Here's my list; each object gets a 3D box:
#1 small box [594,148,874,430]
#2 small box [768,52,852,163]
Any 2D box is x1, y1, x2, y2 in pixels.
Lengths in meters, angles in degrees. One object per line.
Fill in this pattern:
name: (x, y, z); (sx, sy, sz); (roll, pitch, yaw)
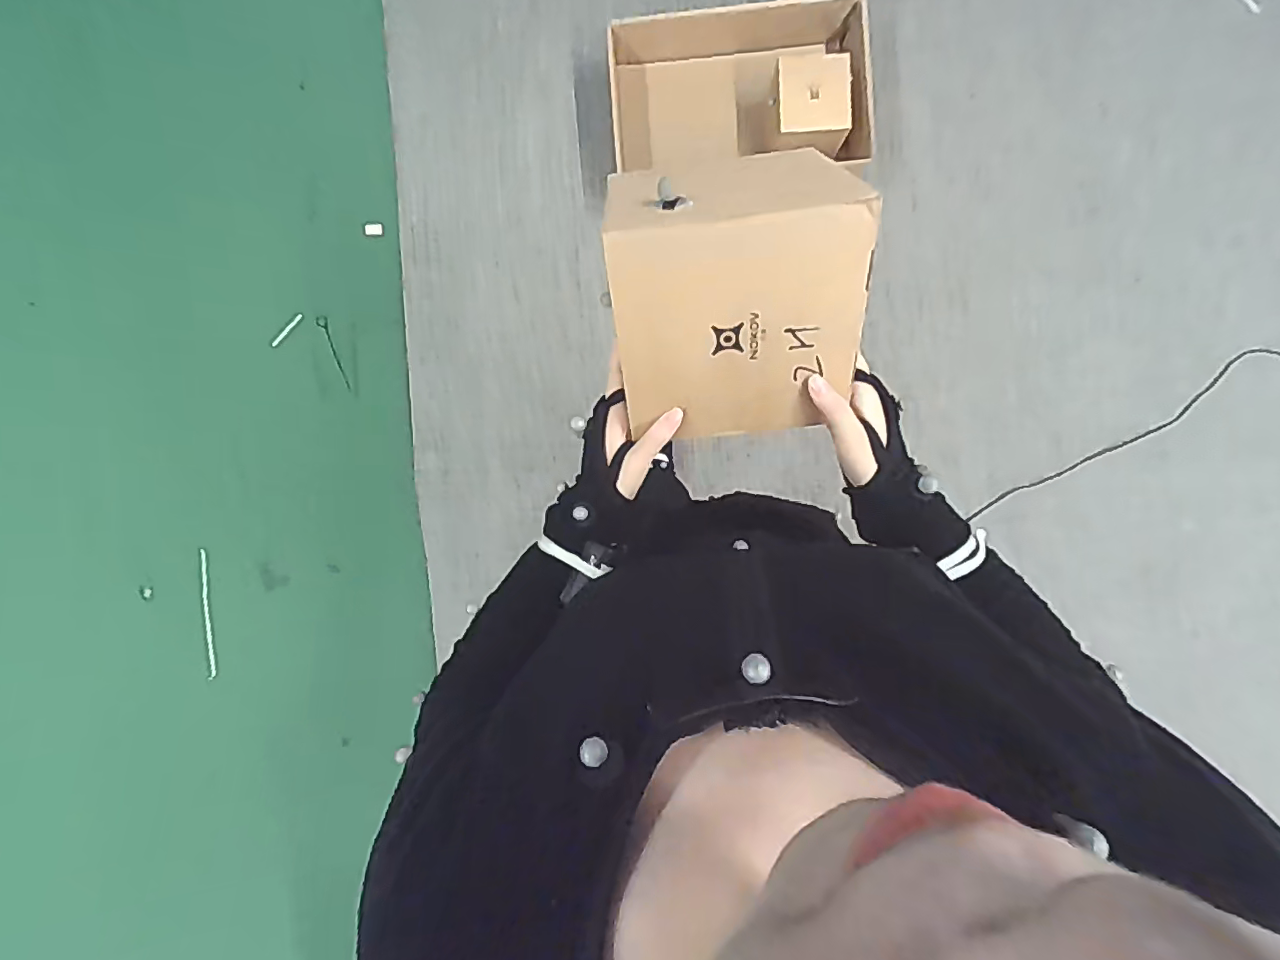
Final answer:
small box: (0.064, -0.160, 0.447); (0.179, 0.176, 0.168); (-5, 131, 3)
small box: (0.412, -0.899, 1.330); (0.168, 0.176, 0.179); (-2, 91, 3)
